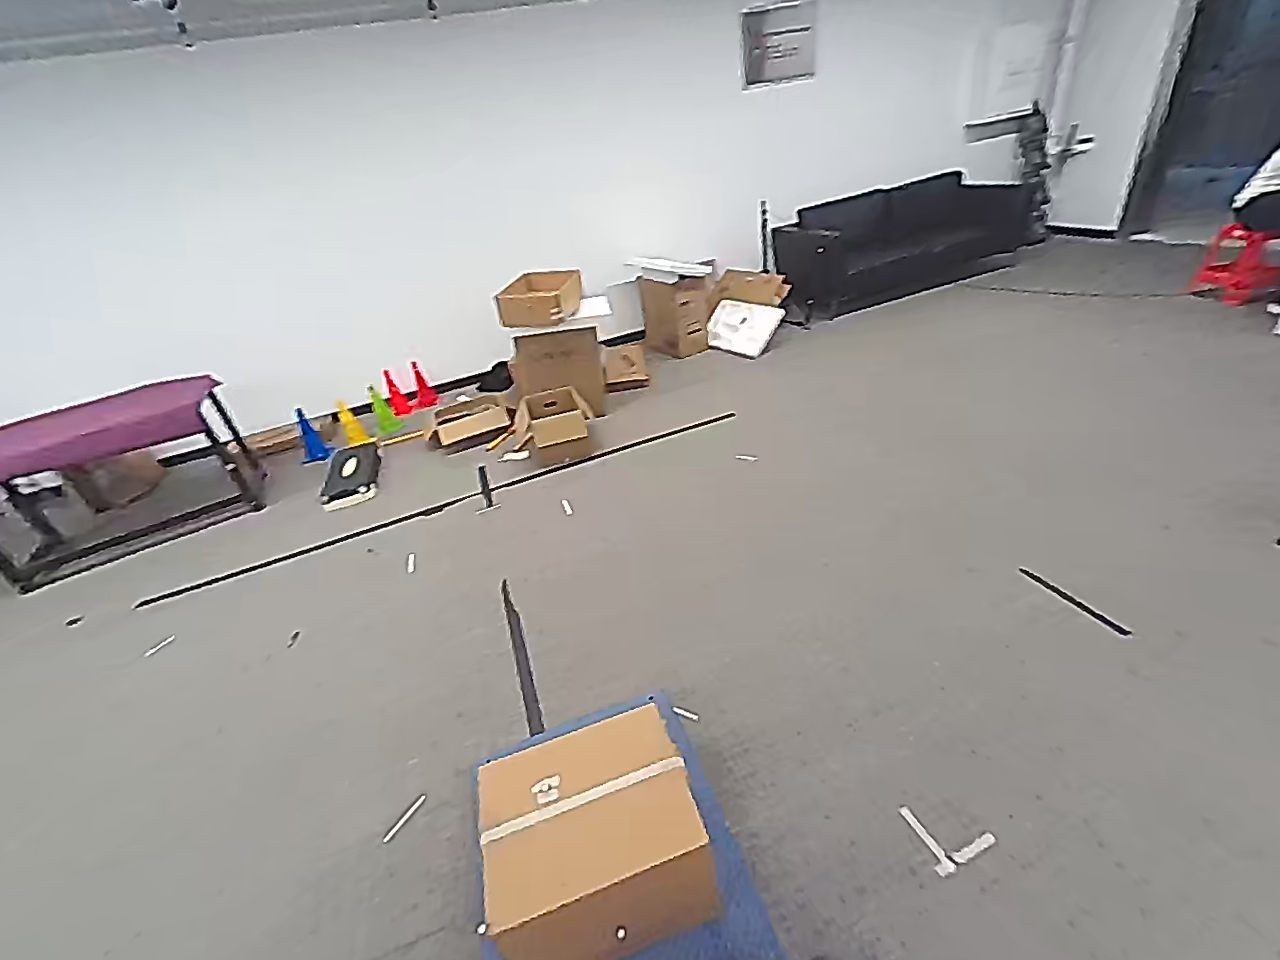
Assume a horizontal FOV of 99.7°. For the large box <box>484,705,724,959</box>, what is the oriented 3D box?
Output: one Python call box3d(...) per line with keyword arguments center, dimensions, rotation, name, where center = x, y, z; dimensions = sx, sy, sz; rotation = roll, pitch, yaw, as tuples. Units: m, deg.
box3d(center=(-0.076, 0.762, 1.145), dimensions=(0.408, 0.320, 0.320), rotation=(-18, 31, -9), name="large box")
